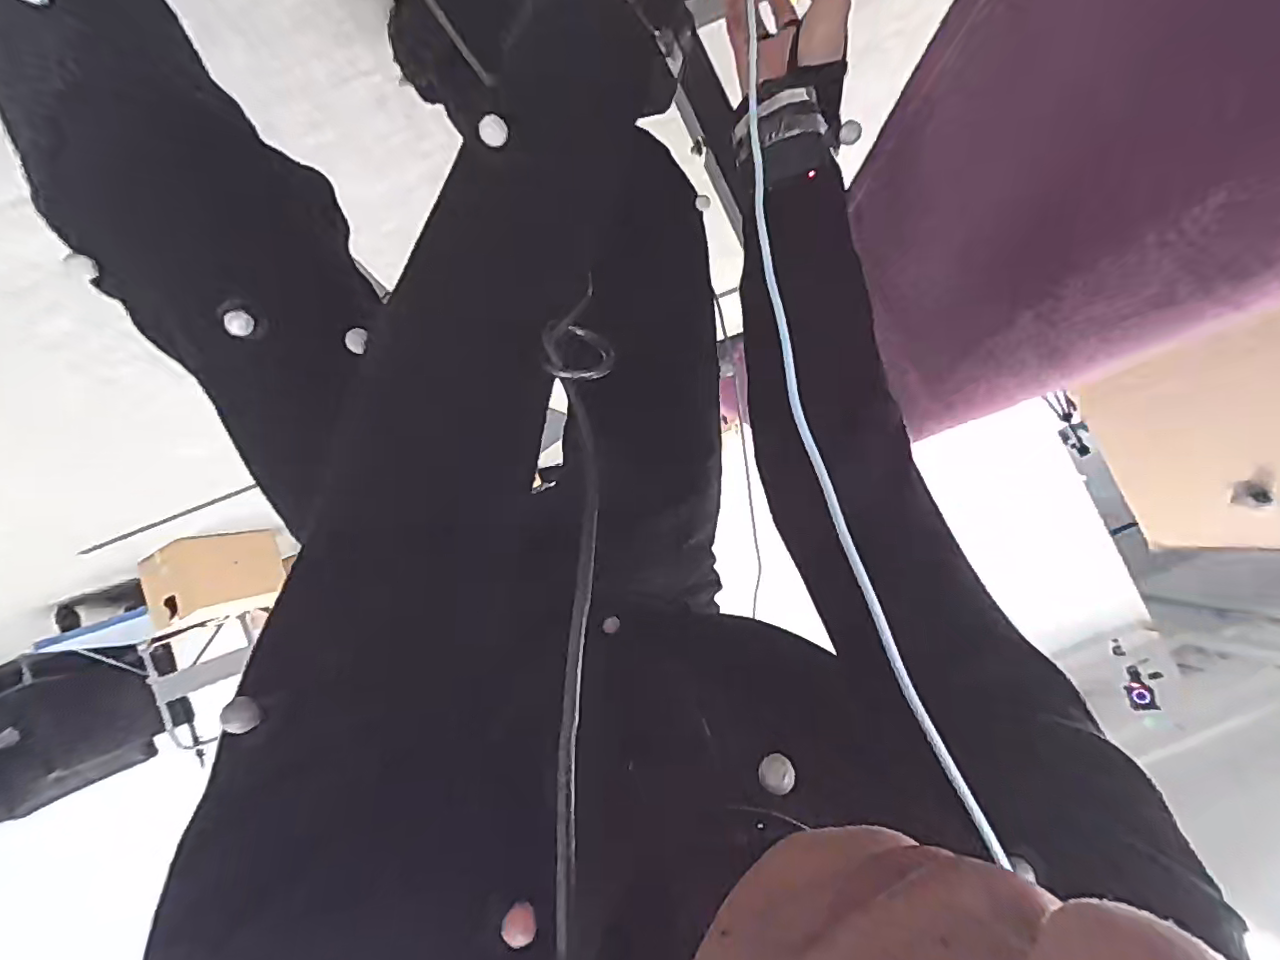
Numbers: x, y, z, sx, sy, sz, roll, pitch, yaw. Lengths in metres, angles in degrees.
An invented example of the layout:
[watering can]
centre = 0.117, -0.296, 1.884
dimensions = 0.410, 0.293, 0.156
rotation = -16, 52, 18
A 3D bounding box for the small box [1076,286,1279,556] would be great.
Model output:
[small box]
centre = 0.478, -0.056, 0.389
dimensions = 0.168, 0.176, 0.179
rotation = -22, 174, 0
